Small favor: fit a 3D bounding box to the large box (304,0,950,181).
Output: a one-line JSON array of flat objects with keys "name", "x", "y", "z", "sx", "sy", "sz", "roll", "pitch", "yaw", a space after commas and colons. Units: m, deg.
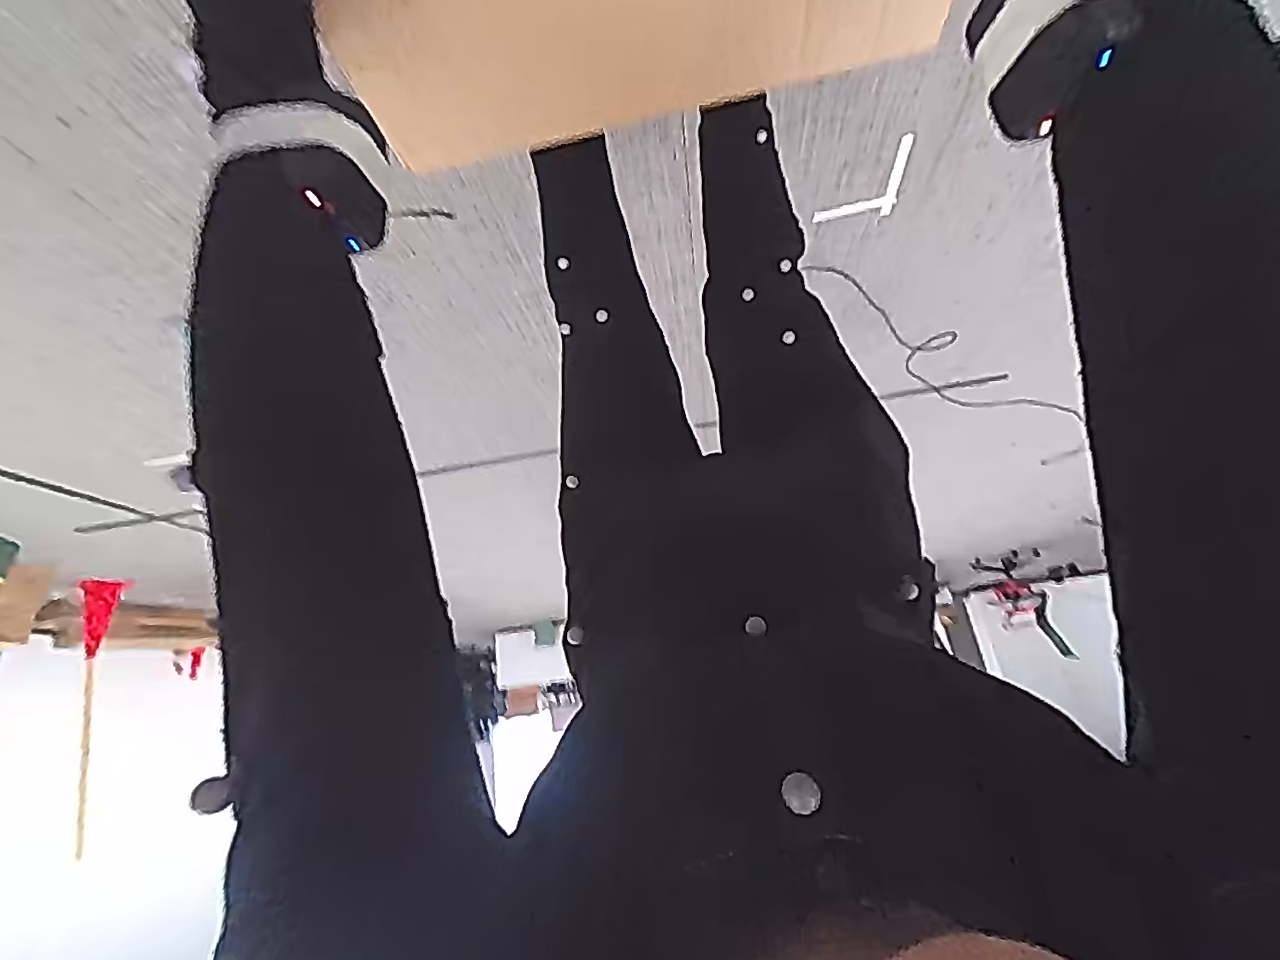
[{"name": "large box", "x": -0.027, "y": -0.462, "z": 0.323, "sx": 0.408, "sy": 0.320, "sz": 0.320, "roll": -10, "pitch": 160, "yaw": 6}]
